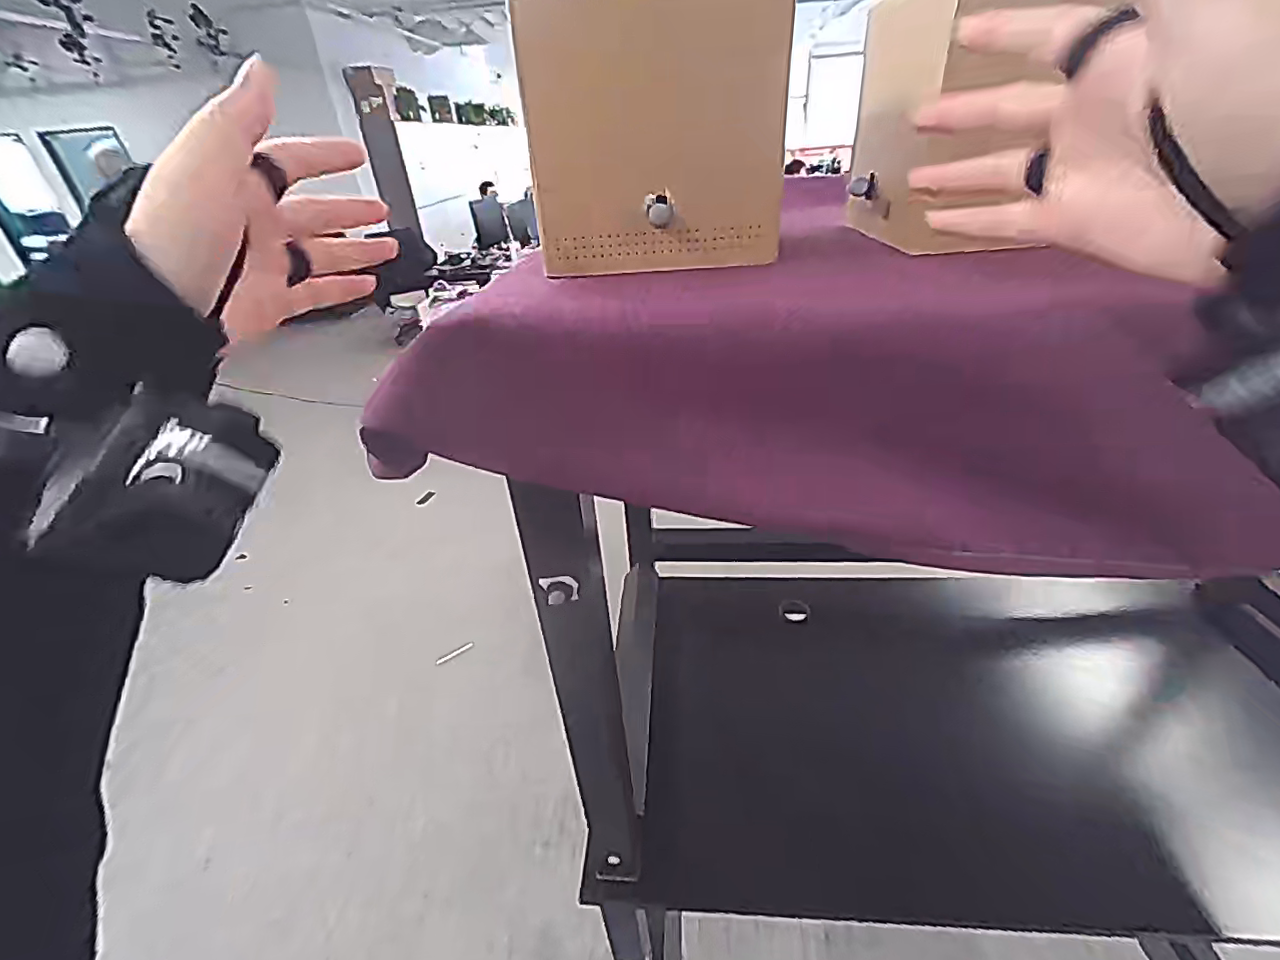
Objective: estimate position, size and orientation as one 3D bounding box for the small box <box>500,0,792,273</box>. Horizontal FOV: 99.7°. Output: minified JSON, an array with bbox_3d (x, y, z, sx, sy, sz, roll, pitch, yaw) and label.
[{"bbox_3d":[0.005,-0.267,0.420,0.179,0.176,0.168,-3,32,0],"label":"small box"}]

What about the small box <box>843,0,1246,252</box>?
[{"bbox_3d":[0.273,-0.280,0.410,0.179,0.176,0.168,-3,32,3],"label":"small box"}]
